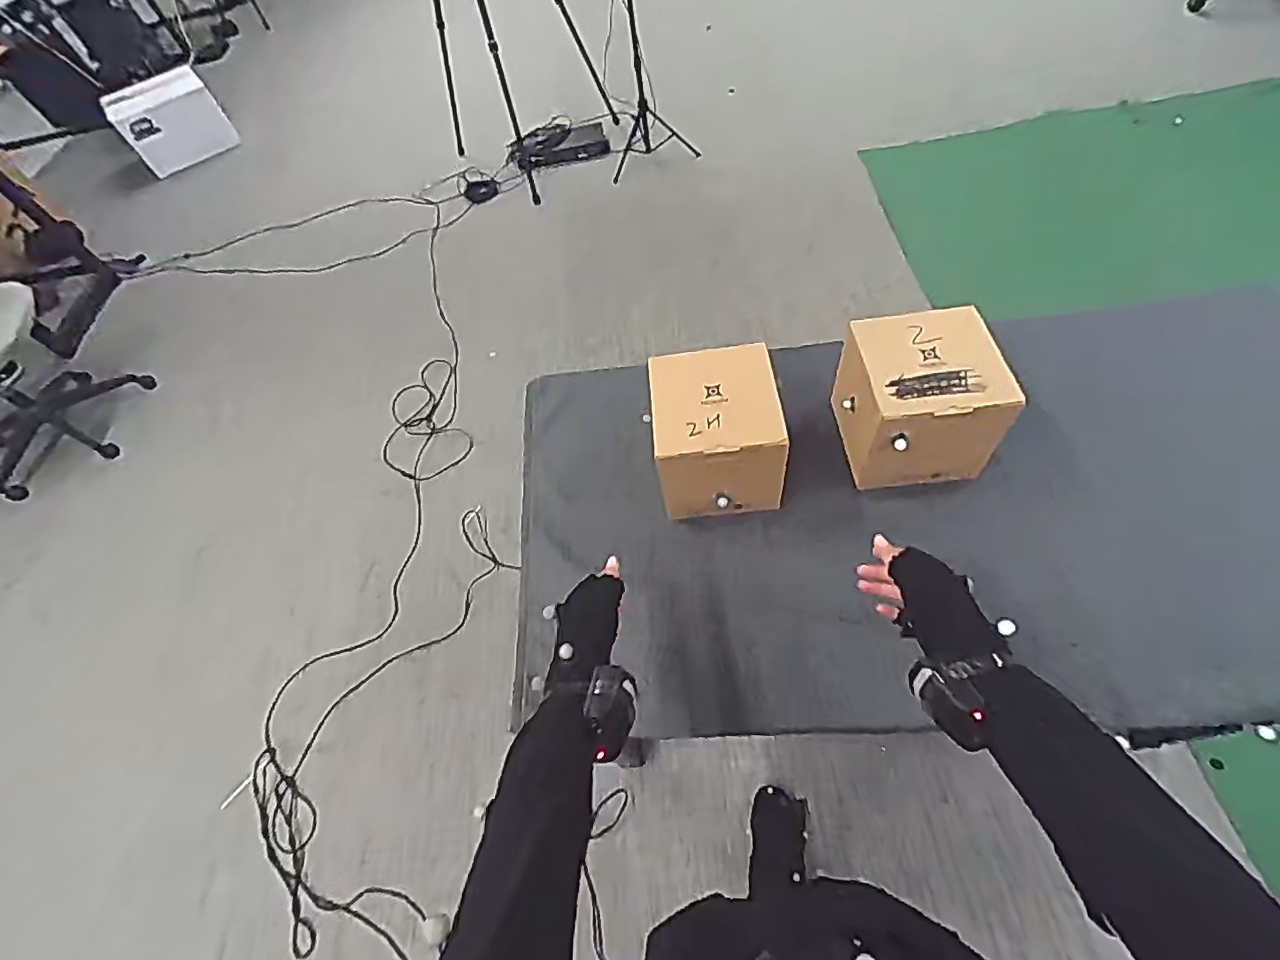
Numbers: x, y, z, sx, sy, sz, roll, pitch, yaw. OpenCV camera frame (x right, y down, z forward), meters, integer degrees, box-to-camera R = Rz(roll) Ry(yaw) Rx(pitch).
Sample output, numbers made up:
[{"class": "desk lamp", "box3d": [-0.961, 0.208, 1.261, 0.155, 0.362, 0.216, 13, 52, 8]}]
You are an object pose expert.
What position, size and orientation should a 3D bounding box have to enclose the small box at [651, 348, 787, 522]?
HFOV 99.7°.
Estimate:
[{"class": "small box", "box3d": [0.107, -0.060, 0.775, 0.168, 0.176, 0.179, -6, 57, 6]}]
